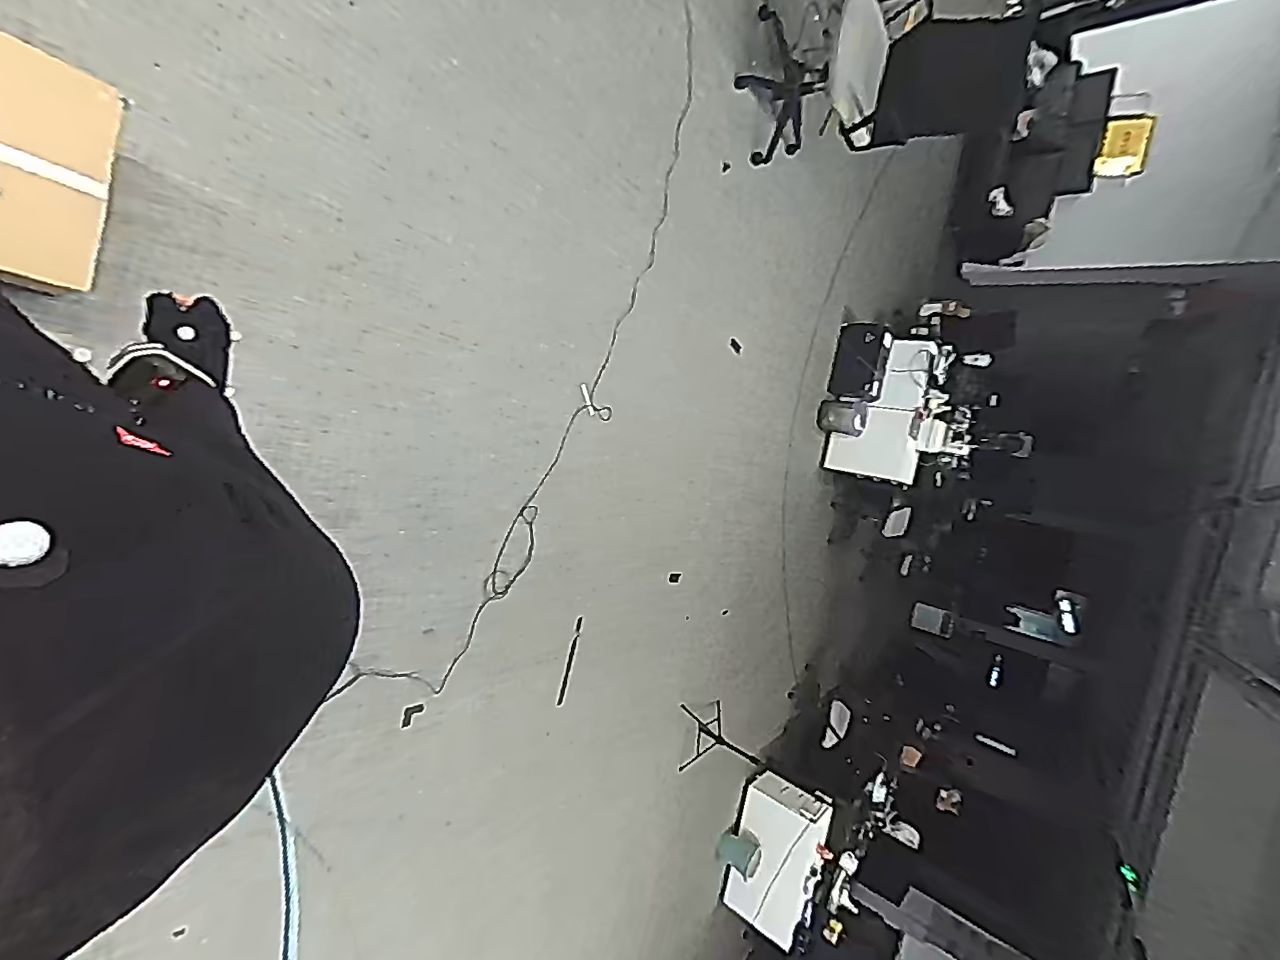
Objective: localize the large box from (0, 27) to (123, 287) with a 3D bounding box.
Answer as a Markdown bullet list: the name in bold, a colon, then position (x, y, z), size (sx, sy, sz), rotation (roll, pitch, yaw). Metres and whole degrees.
- **large box**: position (-1.058, -0.497, 0.762), size (0.408, 0.320, 0.320), rotation (10, 94, -54)
